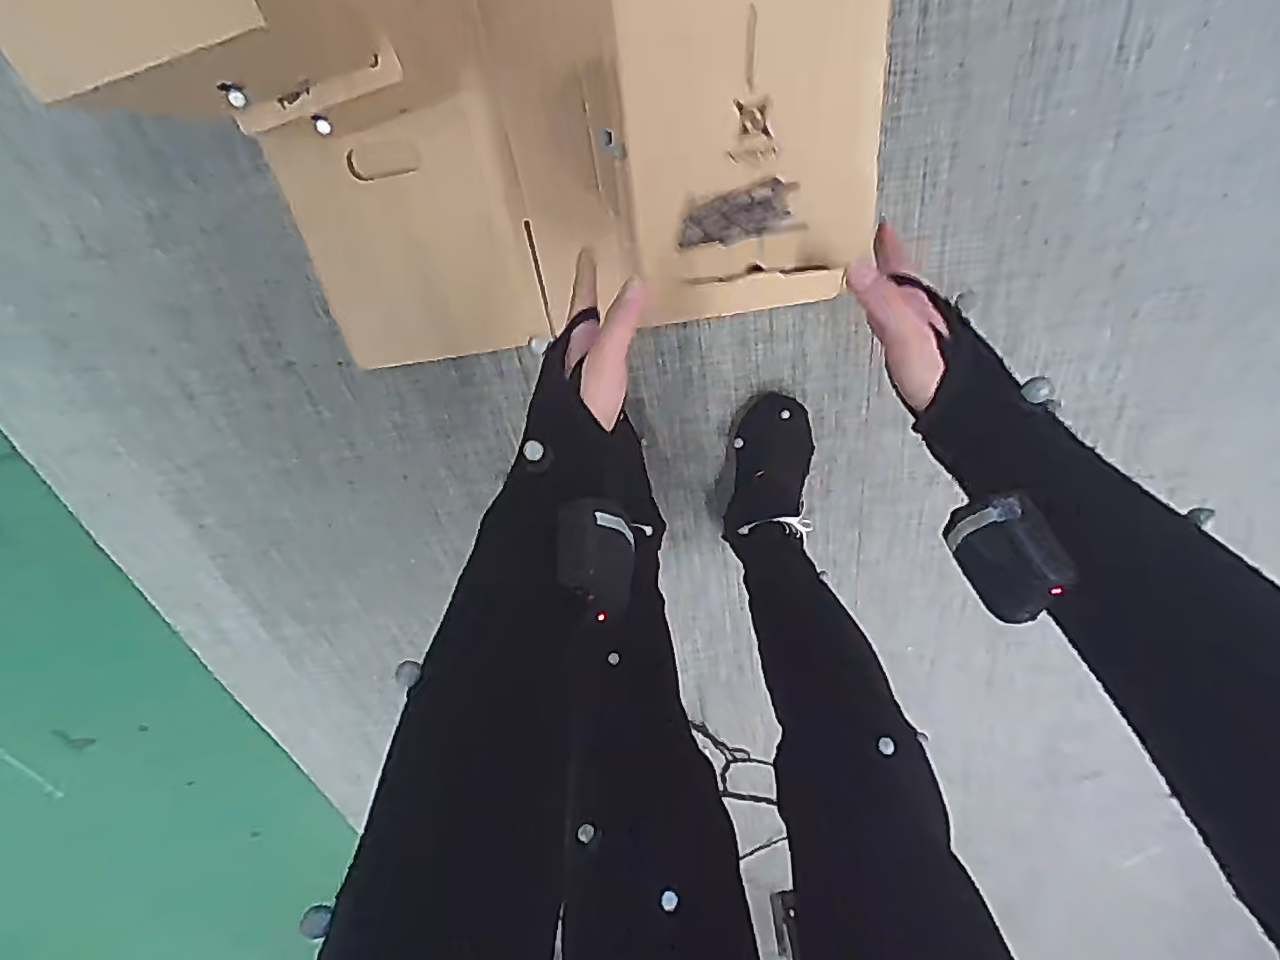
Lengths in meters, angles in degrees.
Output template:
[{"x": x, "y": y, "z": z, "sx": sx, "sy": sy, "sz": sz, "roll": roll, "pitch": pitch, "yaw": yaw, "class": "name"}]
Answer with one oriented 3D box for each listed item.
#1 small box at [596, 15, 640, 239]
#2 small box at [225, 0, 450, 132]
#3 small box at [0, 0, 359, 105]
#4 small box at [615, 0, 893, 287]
[{"x": 0.052, "y": -0.362, "z": 0.561, "sx": 0.168, "sy": 0.176, "sz": 0.179, "roll": -5, "pitch": 120, "yaw": 3, "class": "small box"}, {"x": -0.308, "y": -0.450, "z": 0.507, "sx": 0.168, "sy": 0.176, "sz": 0.179, "roll": -13, "pitch": 121, "yaw": 8, "class": "small box"}, {"x": -0.328, "y": -0.372, "z": 0.361, "sx": 0.168, "sy": 0.176, "sz": 0.179, "roll": -13, "pitch": 120, "yaw": 6, "class": "small box"}, {"x": 0.075, "y": -0.267, "z": 0.425, "sx": 0.168, "sy": 0.176, "sz": 0.179, "roll": -7, "pitch": 121, "yaw": 2, "class": "small box"}]
